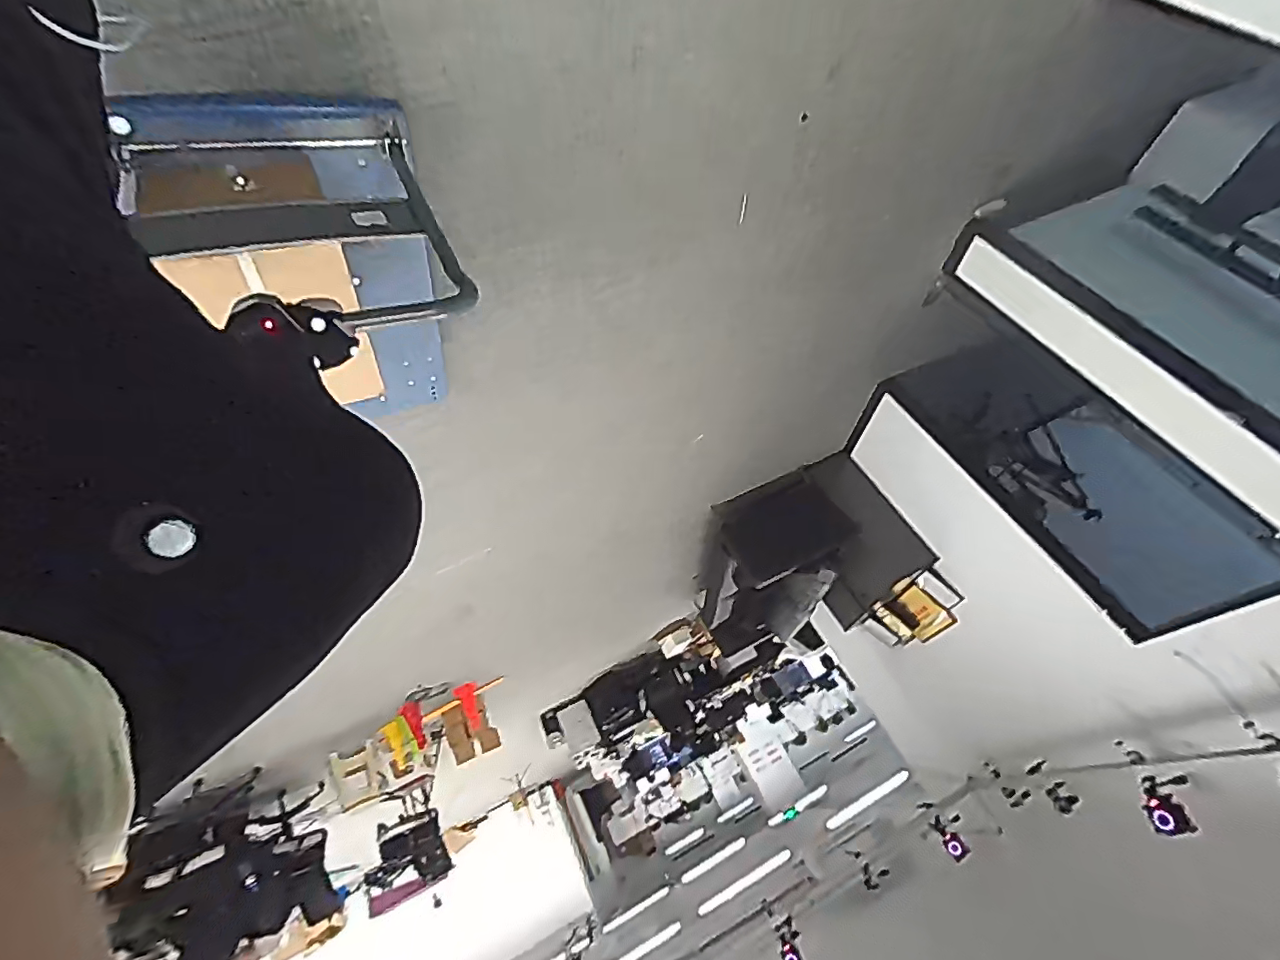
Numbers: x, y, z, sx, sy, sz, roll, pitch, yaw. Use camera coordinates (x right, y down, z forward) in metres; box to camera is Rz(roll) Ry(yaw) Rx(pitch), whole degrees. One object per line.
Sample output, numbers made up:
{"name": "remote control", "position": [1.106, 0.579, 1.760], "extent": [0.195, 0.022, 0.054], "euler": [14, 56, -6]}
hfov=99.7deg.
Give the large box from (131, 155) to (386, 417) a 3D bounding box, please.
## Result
{"name": "large box", "position": [-0.788, -0.410, 1.163], "extent": [0.320, 0.320, 0.408], "euler": [-18, 150, -22]}
